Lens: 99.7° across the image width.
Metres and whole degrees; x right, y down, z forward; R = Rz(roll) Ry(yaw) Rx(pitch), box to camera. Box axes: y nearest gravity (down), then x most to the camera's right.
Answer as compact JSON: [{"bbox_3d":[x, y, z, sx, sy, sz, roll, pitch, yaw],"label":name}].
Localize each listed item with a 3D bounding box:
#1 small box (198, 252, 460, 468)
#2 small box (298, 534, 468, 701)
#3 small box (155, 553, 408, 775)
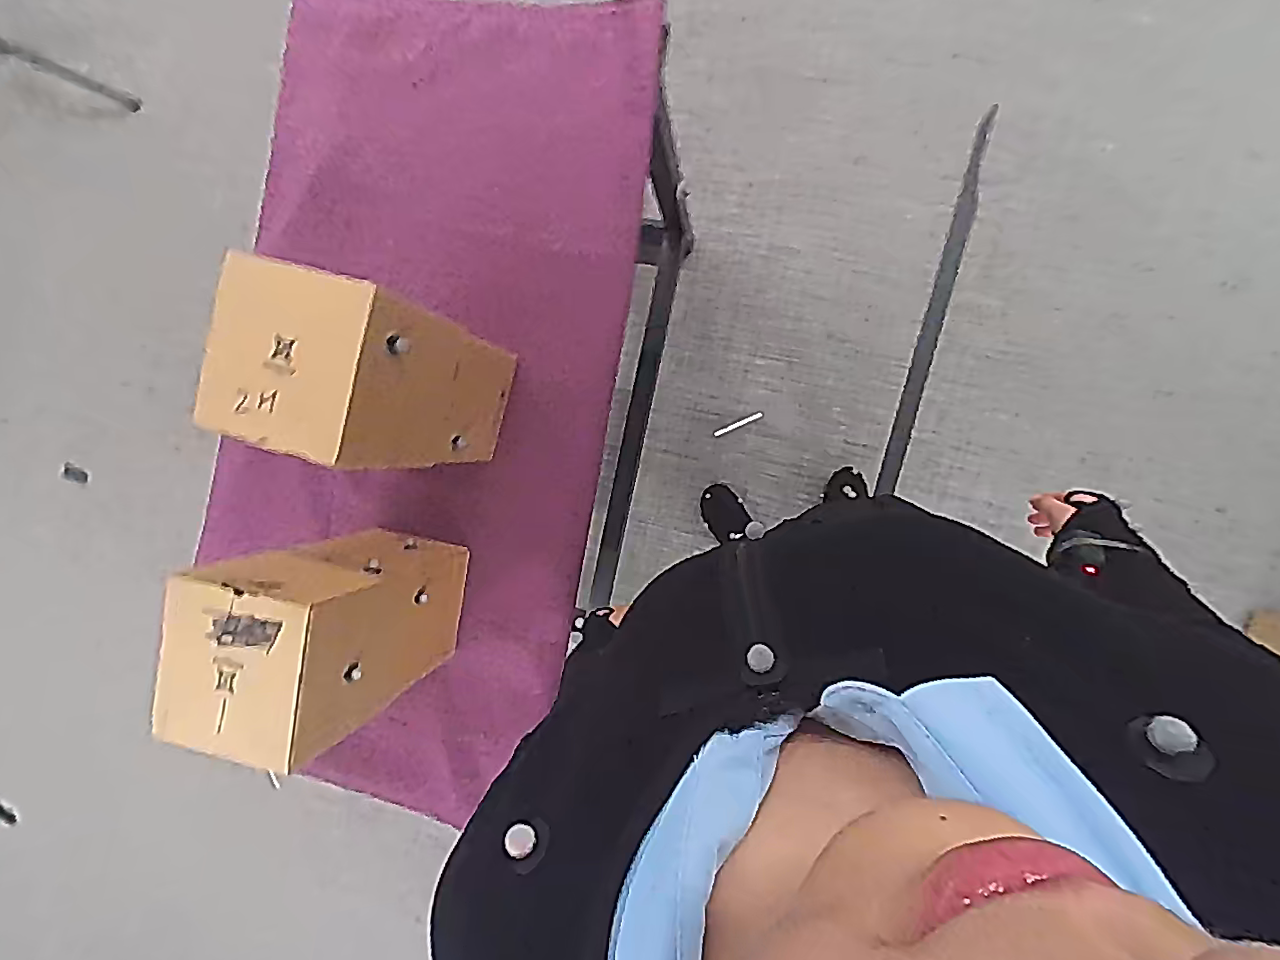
[{"bbox_3d":[-0.322,-0.118,0.591,0.168,0.176,0.179,16,95,10],"label":"small box"},{"bbox_3d":[-0.369,0.185,0.780,0.168,0.176,0.179,10,93,9],"label":"small box"},{"bbox_3d":[-0.391,0.190,0.617,0.168,0.176,0.179,10,94,9],"label":"small box"}]
